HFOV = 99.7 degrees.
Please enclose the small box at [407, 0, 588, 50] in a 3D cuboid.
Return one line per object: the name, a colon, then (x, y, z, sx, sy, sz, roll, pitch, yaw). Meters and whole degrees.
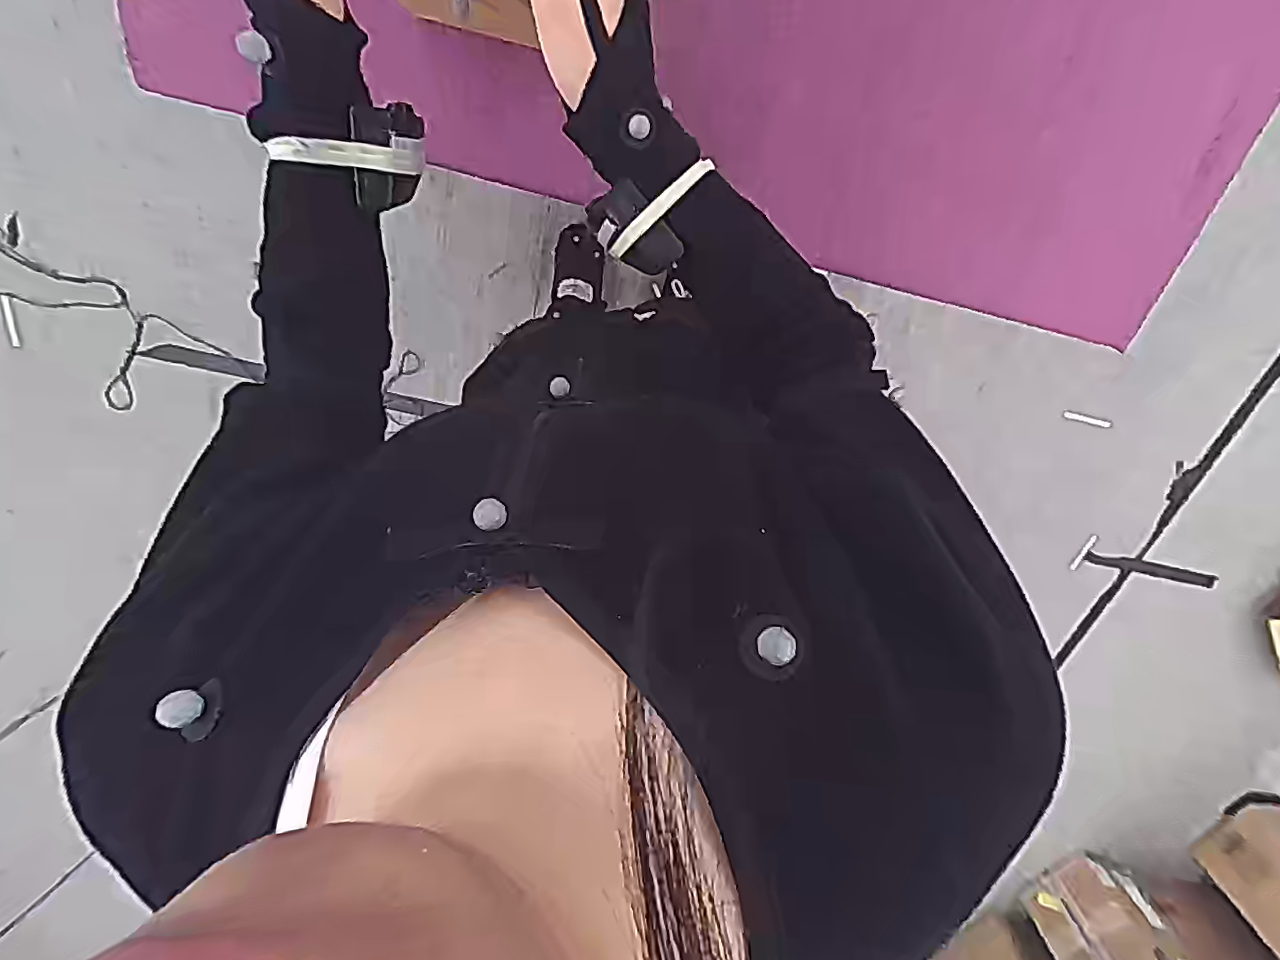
small box: (-0.124, -0.492, 0.449, 0.179, 0.176, 0.168, 11, 115, -7)
